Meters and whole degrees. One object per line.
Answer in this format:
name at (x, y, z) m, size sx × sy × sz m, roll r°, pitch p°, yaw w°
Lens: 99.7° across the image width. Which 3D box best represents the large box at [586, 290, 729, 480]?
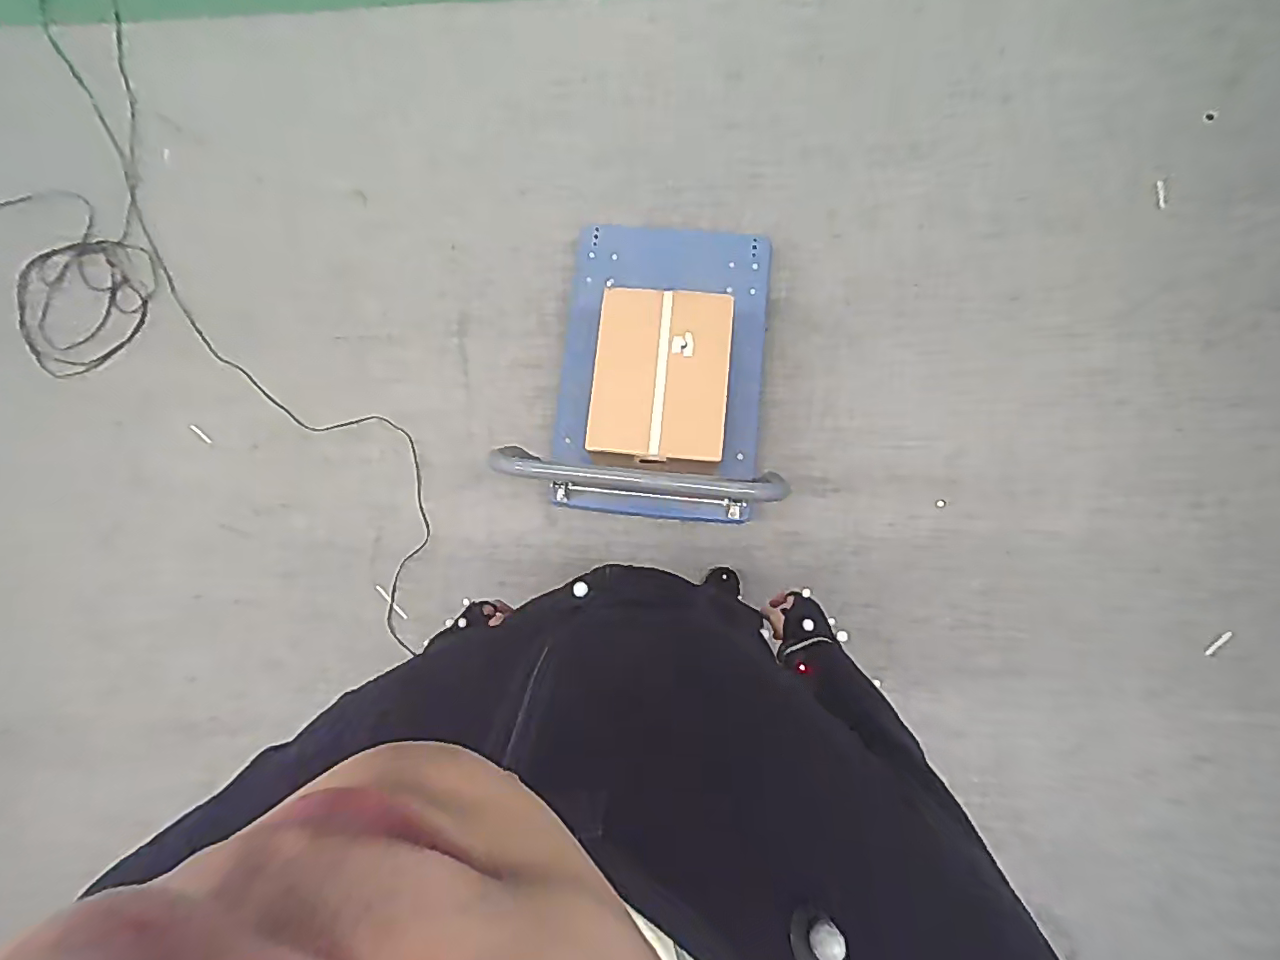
large box at (0.052, -0.227, 1.410) m, size 0.320 × 0.320 × 0.408 m, roll 5°, pitch 80°, yaw 3°
